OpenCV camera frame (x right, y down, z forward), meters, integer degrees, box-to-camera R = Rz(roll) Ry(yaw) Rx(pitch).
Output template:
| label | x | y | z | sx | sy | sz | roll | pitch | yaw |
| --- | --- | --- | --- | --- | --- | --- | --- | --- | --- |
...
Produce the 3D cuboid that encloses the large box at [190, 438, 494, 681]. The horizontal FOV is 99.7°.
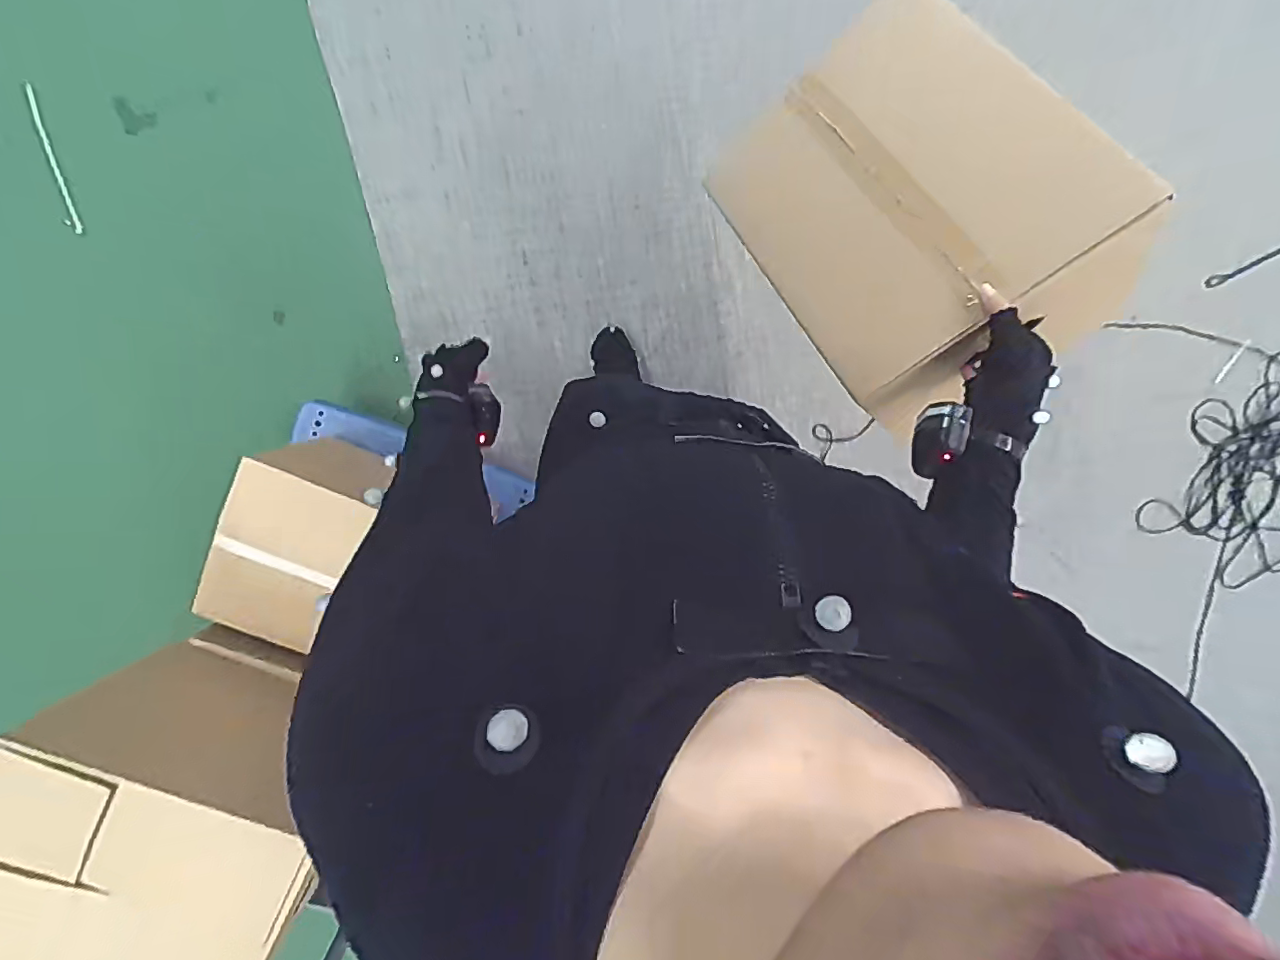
| label | x | y | z | sx | sy | sz | roll | pitch | yaw |
| --- | --- | --- | --- | --- | --- | --- | --- | --- | --- |
| large box | -0.566 | 0.138 | 1.104 | 0.408 | 0.320 | 0.320 | 24 | 98 | -8 |
